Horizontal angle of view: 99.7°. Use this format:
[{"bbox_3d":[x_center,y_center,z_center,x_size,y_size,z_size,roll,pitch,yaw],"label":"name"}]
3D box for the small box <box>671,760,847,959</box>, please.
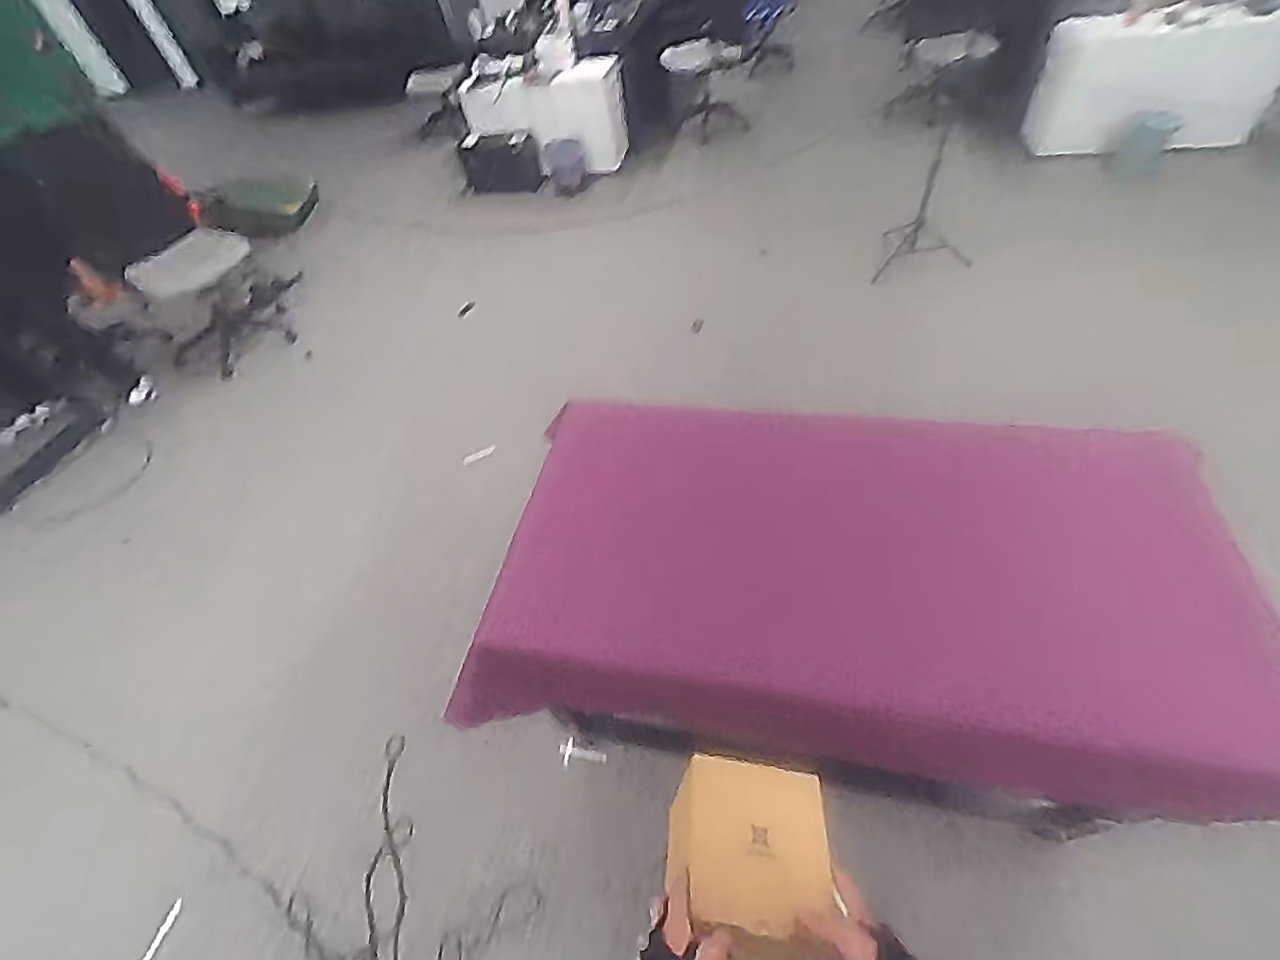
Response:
[{"bbox_3d":[0.135,0.488,0.676,0.168,0.176,0.179,10,39,1],"label":"small box"}]
